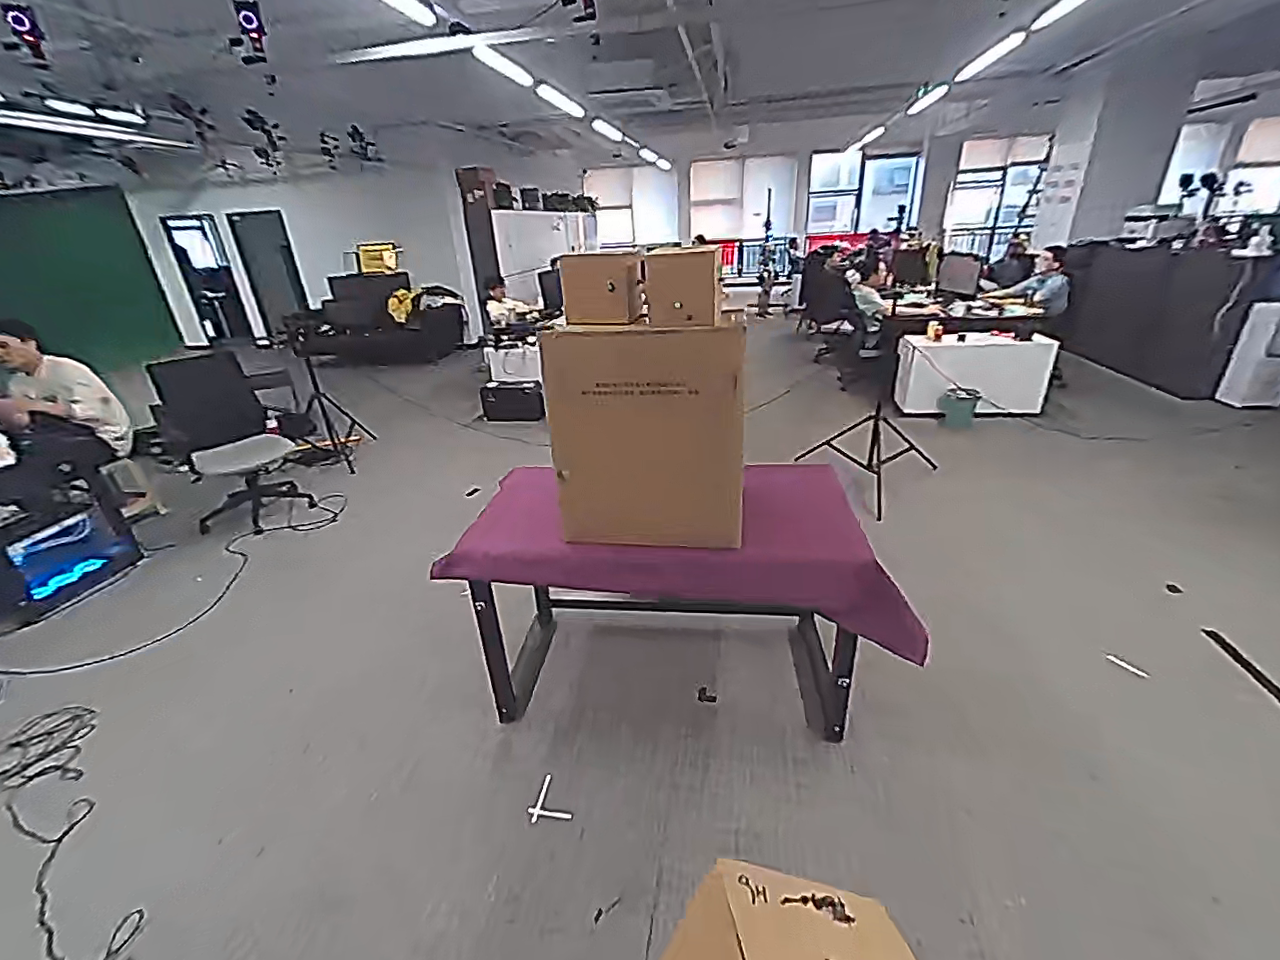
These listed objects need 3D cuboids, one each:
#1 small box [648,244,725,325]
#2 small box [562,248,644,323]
[{"bbox_3d":[0.120,-0.483,1.333,0.168,0.176,0.179,2,26,13],"label":"small box"},{"bbox_3d":[-0.089,-0.511,1.416,0.179,0.176,0.168,3,25,12],"label":"small box"}]
